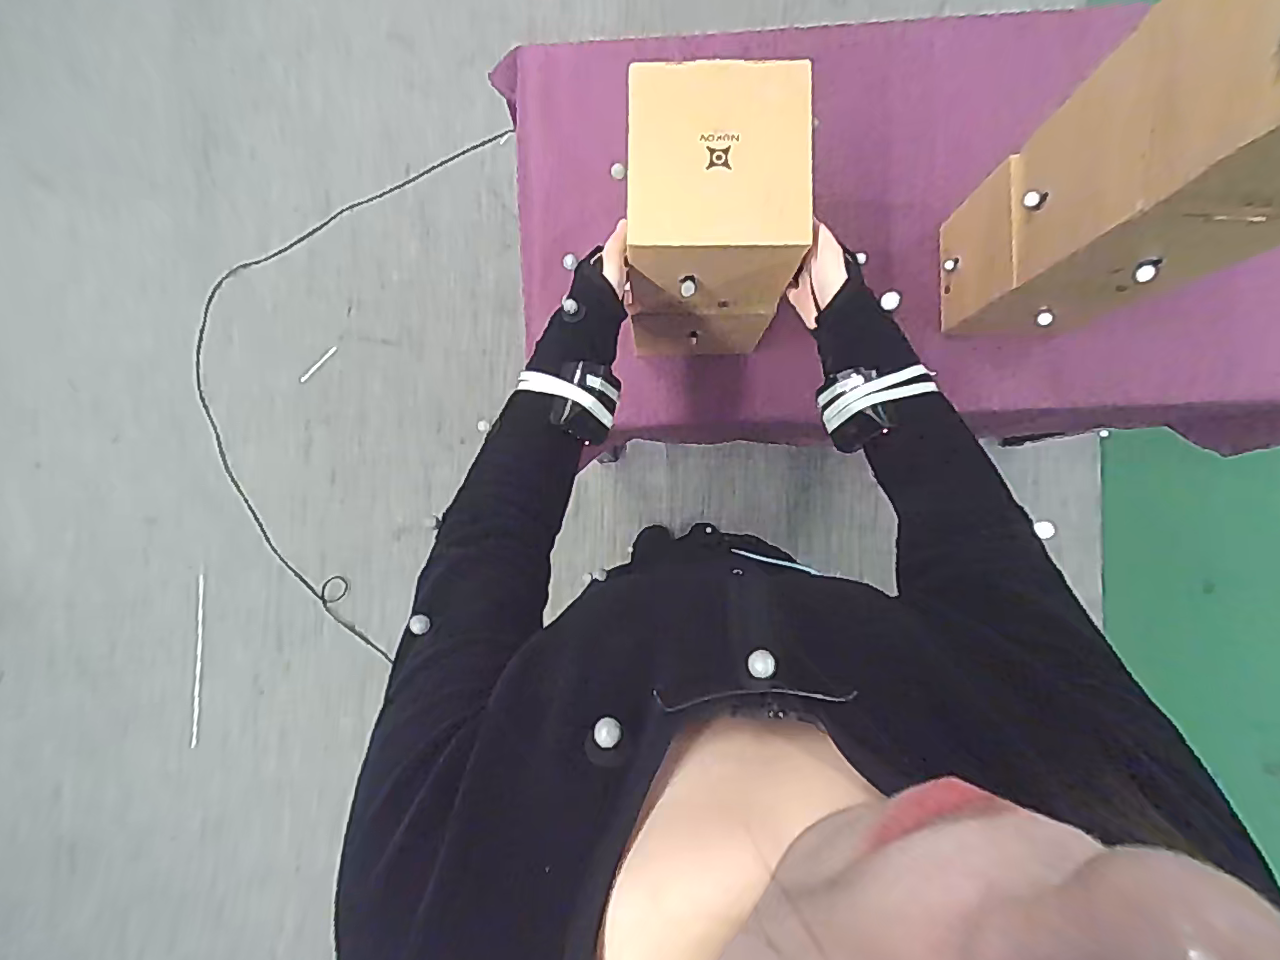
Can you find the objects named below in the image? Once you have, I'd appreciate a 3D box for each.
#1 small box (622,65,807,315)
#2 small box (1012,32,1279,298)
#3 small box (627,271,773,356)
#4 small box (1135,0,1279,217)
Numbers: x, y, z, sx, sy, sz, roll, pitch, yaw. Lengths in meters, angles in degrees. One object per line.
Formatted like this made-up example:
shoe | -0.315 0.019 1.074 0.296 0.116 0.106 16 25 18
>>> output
small box | 0.071 -0.284 0.566 0.168 0.176 0.179 1 85 2
small box | 0.515 -0.301 0.551 0.168 0.176 0.179 4 87 2
small box | 0.074 -0.271 0.727 0.179 0.176 0.168 -1 86 3
small box | 0.507 -0.310 0.386 0.168 0.176 0.179 3 86 2
